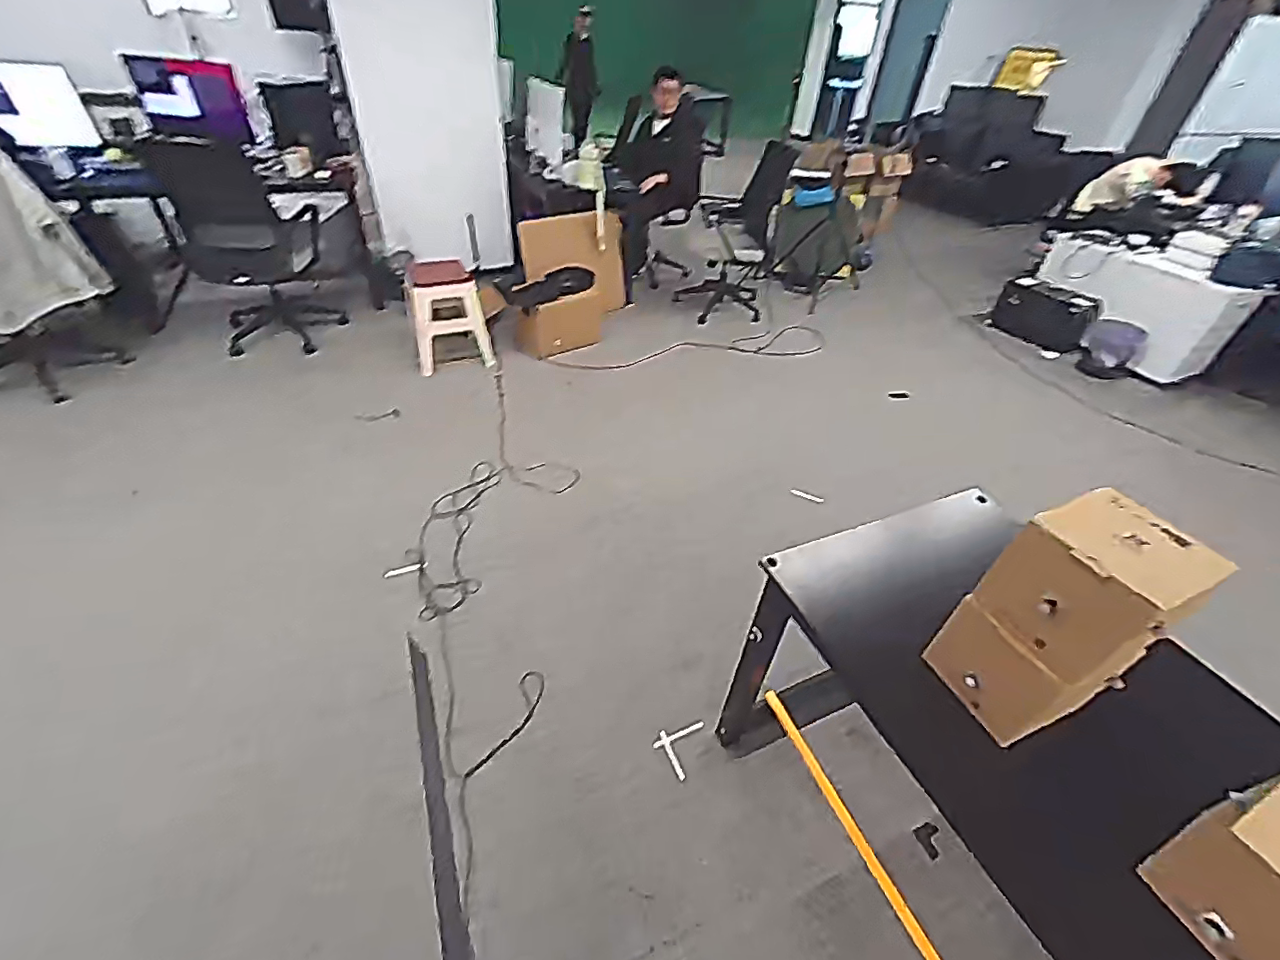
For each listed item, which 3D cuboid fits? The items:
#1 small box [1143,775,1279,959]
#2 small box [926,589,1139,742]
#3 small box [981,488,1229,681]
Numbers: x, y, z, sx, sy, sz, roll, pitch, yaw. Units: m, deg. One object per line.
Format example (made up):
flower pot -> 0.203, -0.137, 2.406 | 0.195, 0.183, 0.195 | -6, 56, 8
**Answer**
small box -> 0.749, 0.473, 0.621 | 0.179, 0.176, 0.168 | -15, 43, -21
small box -> 0.590, 0.270, 0.839 | 0.179, 0.176, 0.168 | -13, 43, -20
small box -> 0.608, 0.142, 0.738 | 0.179, 0.176, 0.168 | -15, 44, -21
